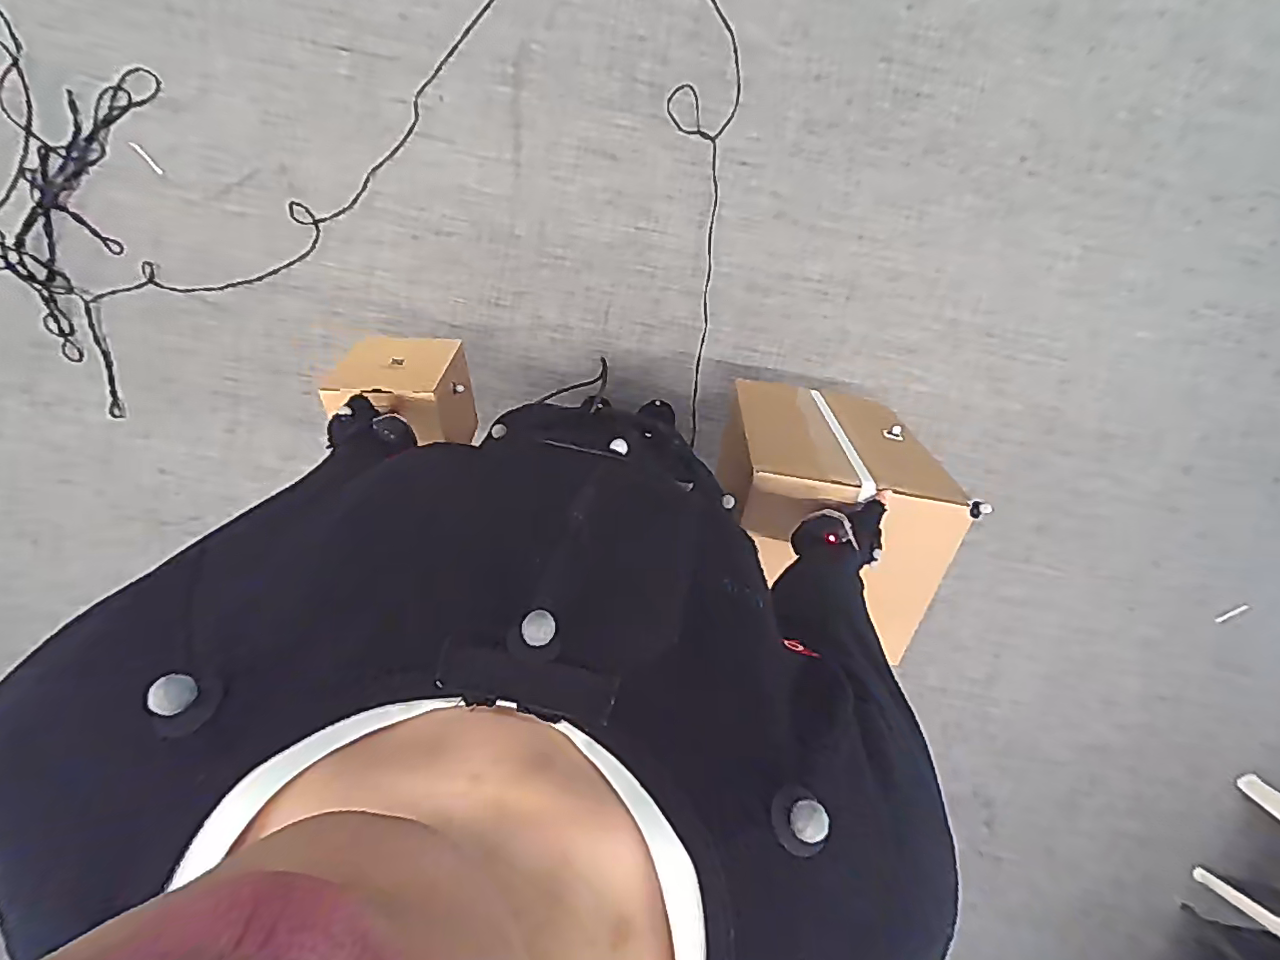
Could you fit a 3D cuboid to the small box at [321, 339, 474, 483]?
[{"bbox_3d":[-0.380,-0.115,0.888,0.168,0.179,0.176,1,130,-2],"label":"small box"}]
